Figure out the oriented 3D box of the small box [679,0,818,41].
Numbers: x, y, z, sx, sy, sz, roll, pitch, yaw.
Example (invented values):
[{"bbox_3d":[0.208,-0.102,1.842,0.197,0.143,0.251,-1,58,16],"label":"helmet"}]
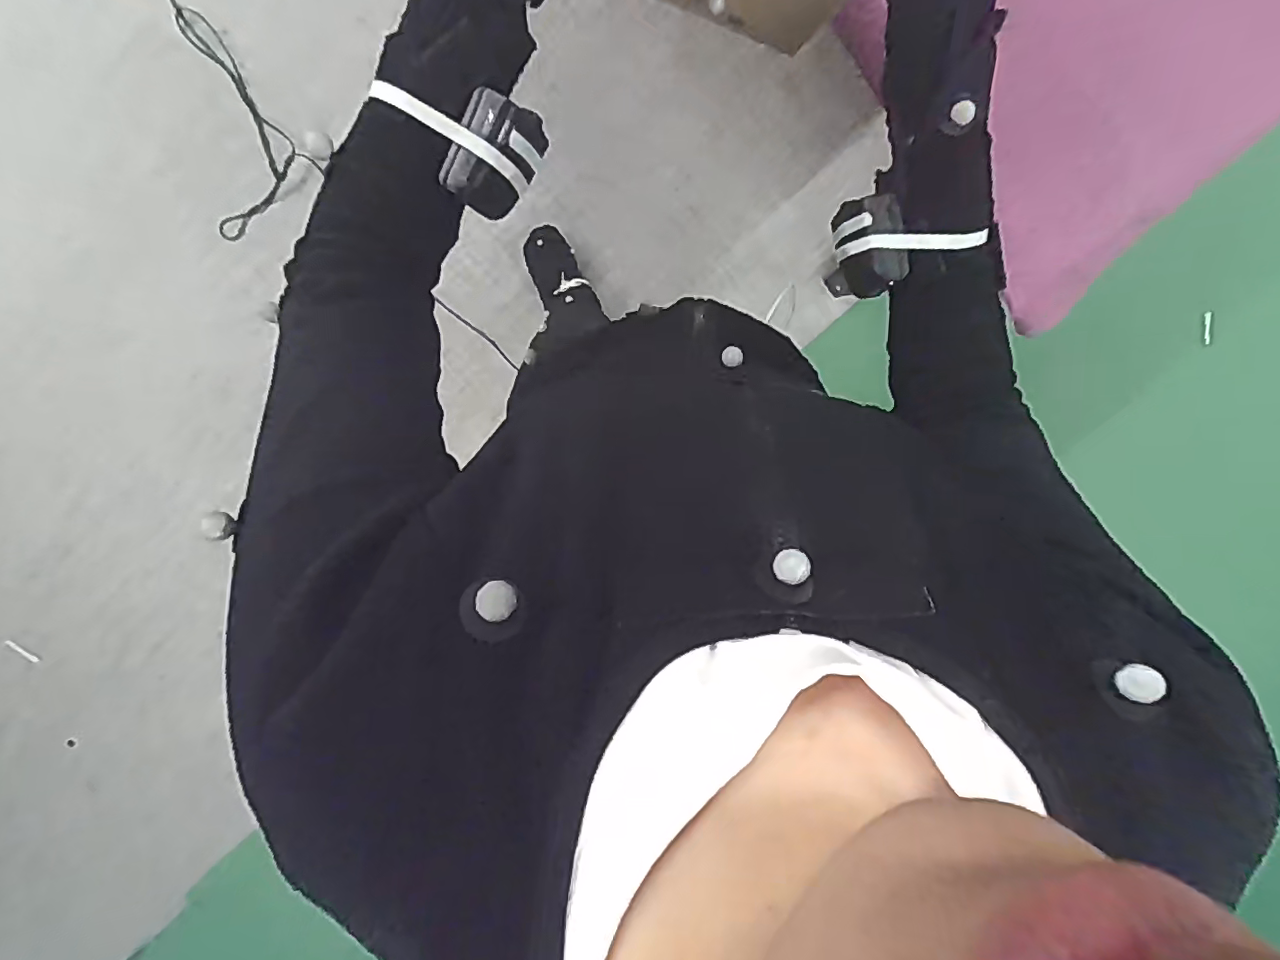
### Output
[{"bbox_3d":[0.081,-0.444,0.349,0.168,0.176,0.179,16,108,-10],"label":"small box"}]
